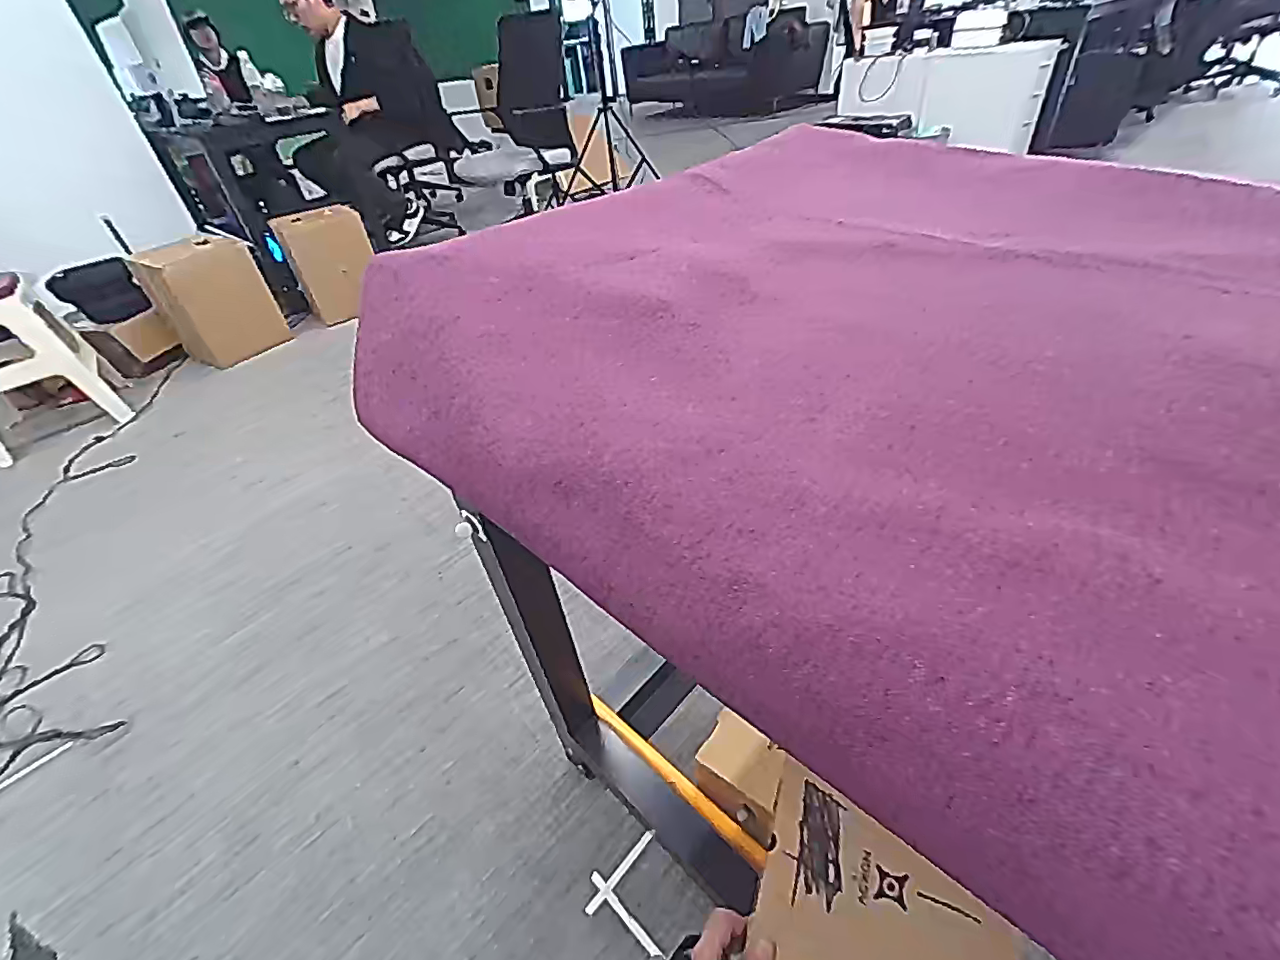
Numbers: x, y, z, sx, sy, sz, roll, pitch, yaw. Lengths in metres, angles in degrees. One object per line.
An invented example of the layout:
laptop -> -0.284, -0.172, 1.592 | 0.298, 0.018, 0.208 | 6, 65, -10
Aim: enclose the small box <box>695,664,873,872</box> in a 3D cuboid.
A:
small box -> 0.195, 0.399, 0.748 | 0.179, 0.176, 0.168 | 21, 48, 31
